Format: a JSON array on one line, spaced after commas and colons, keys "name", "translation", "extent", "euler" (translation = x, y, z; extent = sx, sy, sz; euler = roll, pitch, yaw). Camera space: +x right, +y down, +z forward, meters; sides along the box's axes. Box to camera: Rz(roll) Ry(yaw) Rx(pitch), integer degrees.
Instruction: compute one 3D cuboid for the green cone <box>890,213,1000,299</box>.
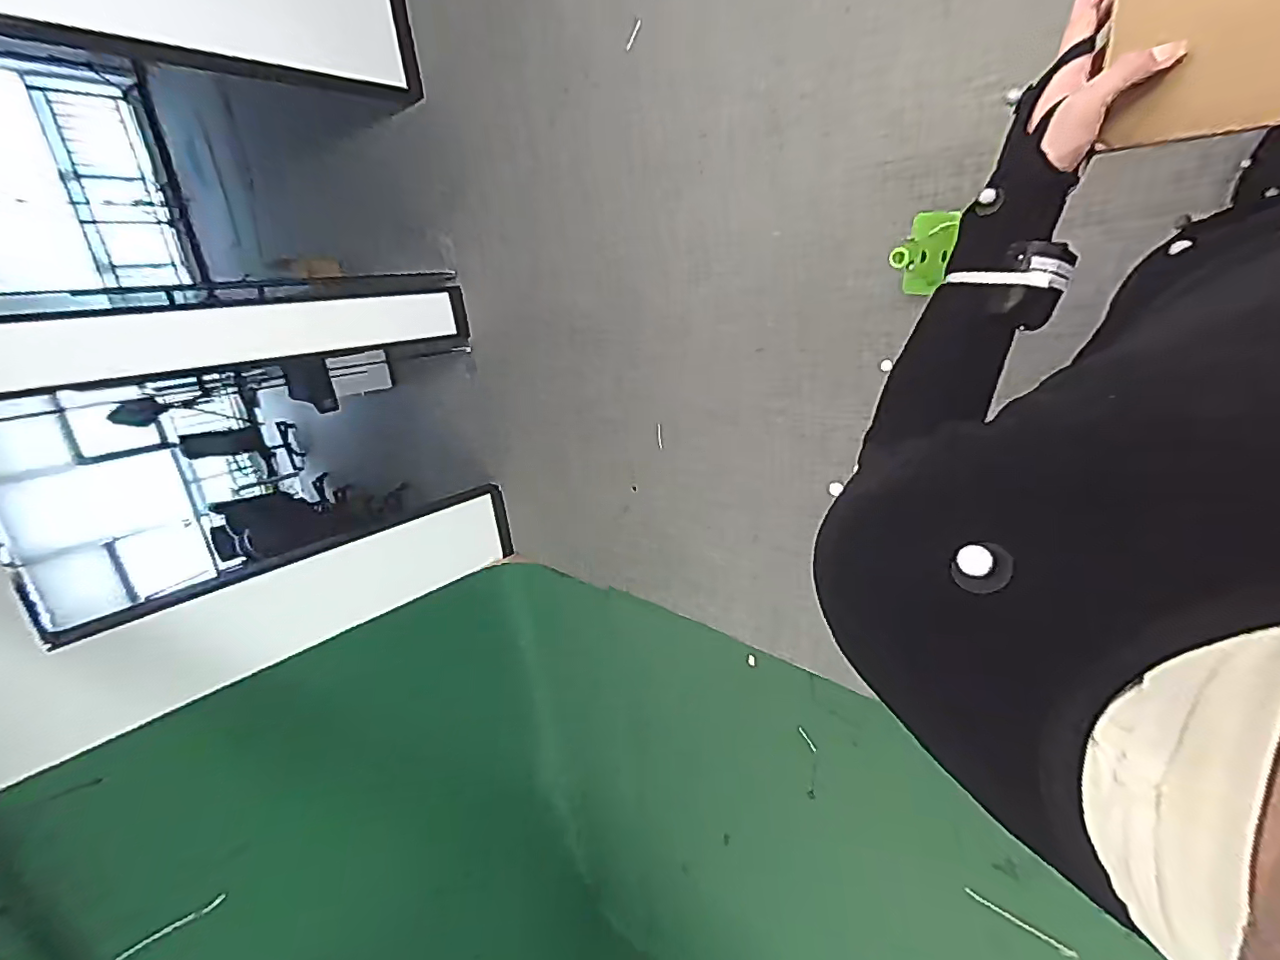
[{"name": "green cone", "translation": [0.678, -0.518, 1.280], "extent": [0.200, 0.368, 0.202], "euler": [19, 121, 41]}]
